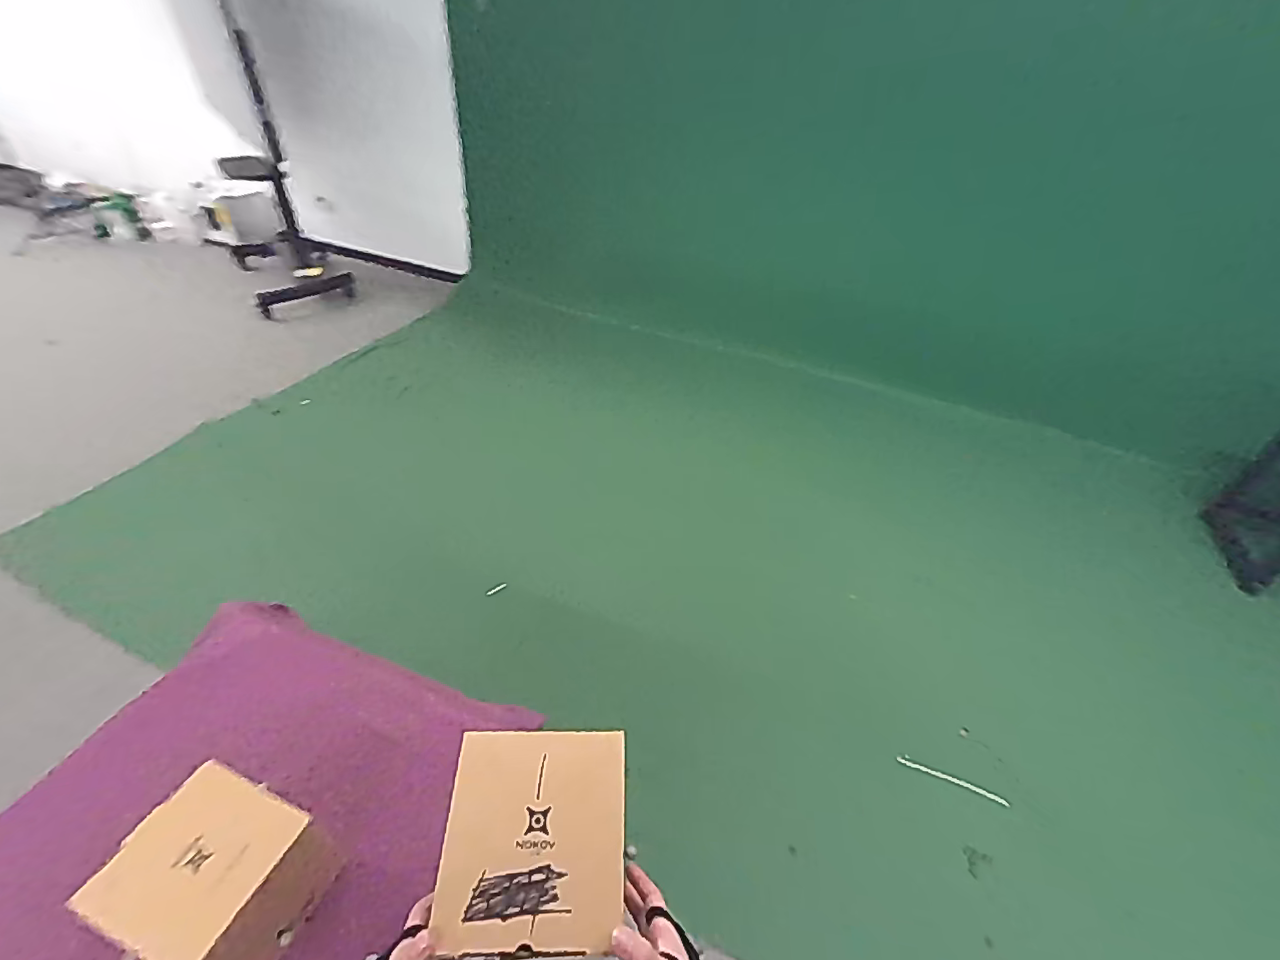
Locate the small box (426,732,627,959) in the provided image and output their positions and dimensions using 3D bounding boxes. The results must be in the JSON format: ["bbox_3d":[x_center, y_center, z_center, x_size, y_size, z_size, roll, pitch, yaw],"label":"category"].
[{"bbox_3d":[-0.098,0.378,0.561,0.168,0.176,0.179,2,50,-2],"label":"small box"}]

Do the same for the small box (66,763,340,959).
[{"bbox_3d":[-0.520,0.498,0.672,0.179,0.176,0.168,18,43,14],"label":"small box"}]
